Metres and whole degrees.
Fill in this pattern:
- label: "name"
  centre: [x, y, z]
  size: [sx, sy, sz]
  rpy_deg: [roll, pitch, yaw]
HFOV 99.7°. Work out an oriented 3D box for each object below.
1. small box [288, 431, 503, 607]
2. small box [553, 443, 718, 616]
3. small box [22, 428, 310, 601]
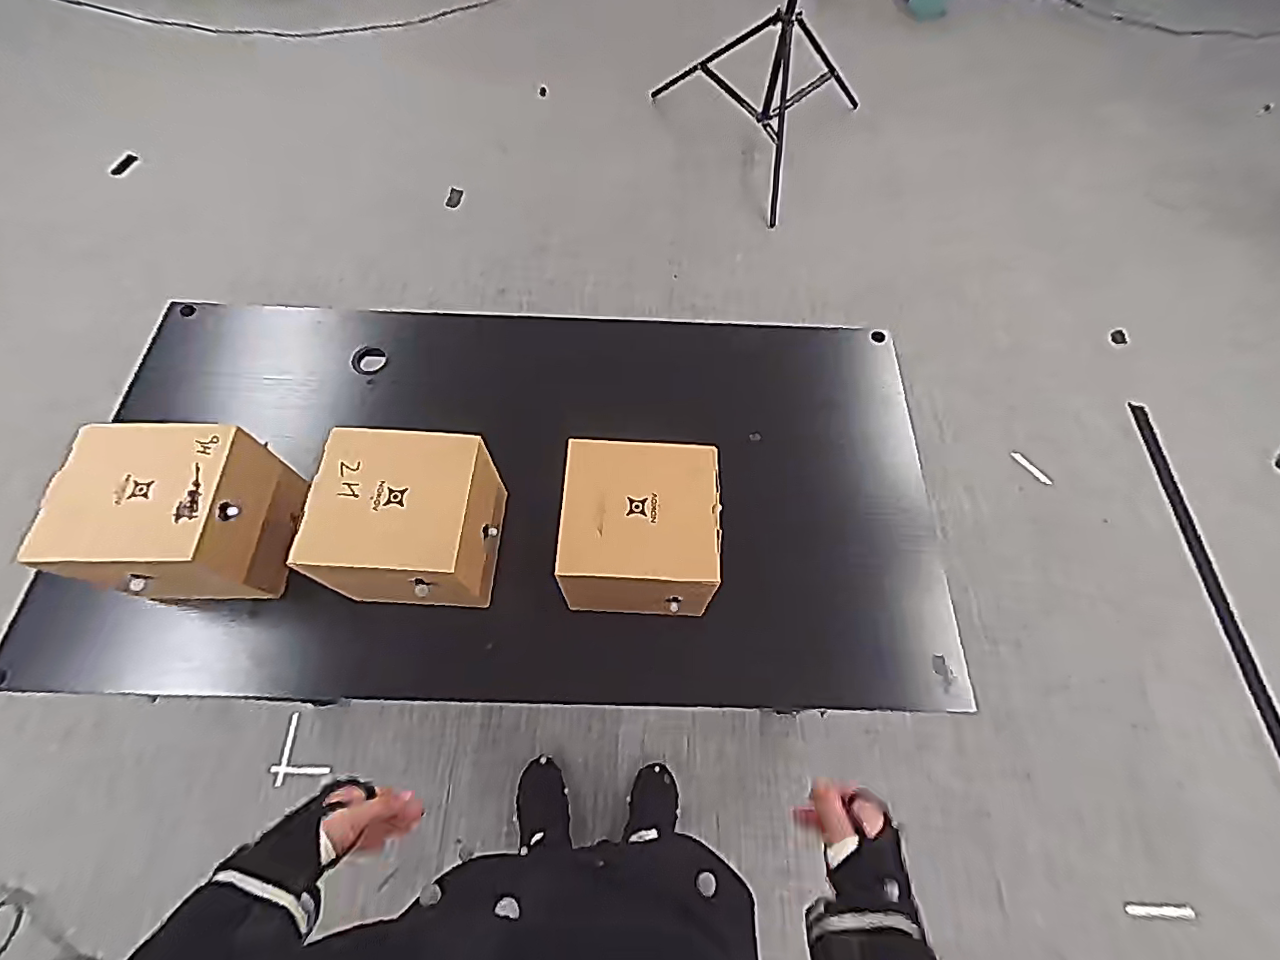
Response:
- label: "small box"
  centre: [-0.277, 0.056, 0.666]
  size: [0.179, 0.176, 0.168]
  rpy_deg: [3, 64, 0]
- label: "small box"
  centre: [-0.004, 0.068, 0.671]
  size: [0.179, 0.176, 0.168]
  rpy_deg: [1, 63, 0]
- label: "small box"
  centre: [-0.550, 0.049, 0.661]
  size: [0.179, 0.176, 0.168]
  rpy_deg: [-1, 65, -2]
